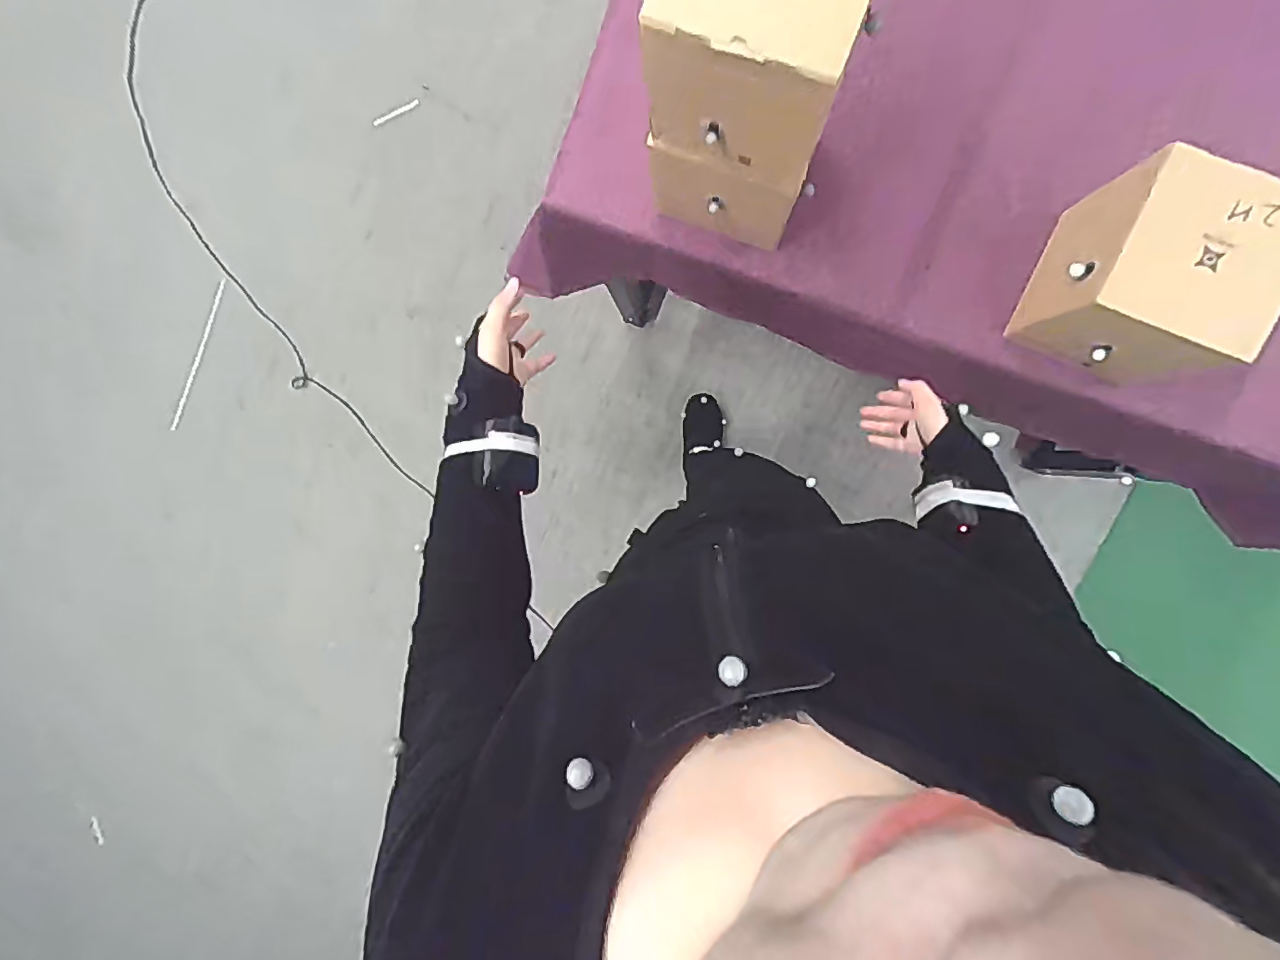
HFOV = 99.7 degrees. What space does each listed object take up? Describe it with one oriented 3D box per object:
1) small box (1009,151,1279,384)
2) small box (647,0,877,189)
[{"bbox_3d":[0.578,-0.226,0.628,0.168,0.176,0.179,25,94,3],"label":"small box"},{"bbox_3d":[0.115,-0.411,0.494,0.168,0.176,0.179,21,95,4],"label":"small box"}]
